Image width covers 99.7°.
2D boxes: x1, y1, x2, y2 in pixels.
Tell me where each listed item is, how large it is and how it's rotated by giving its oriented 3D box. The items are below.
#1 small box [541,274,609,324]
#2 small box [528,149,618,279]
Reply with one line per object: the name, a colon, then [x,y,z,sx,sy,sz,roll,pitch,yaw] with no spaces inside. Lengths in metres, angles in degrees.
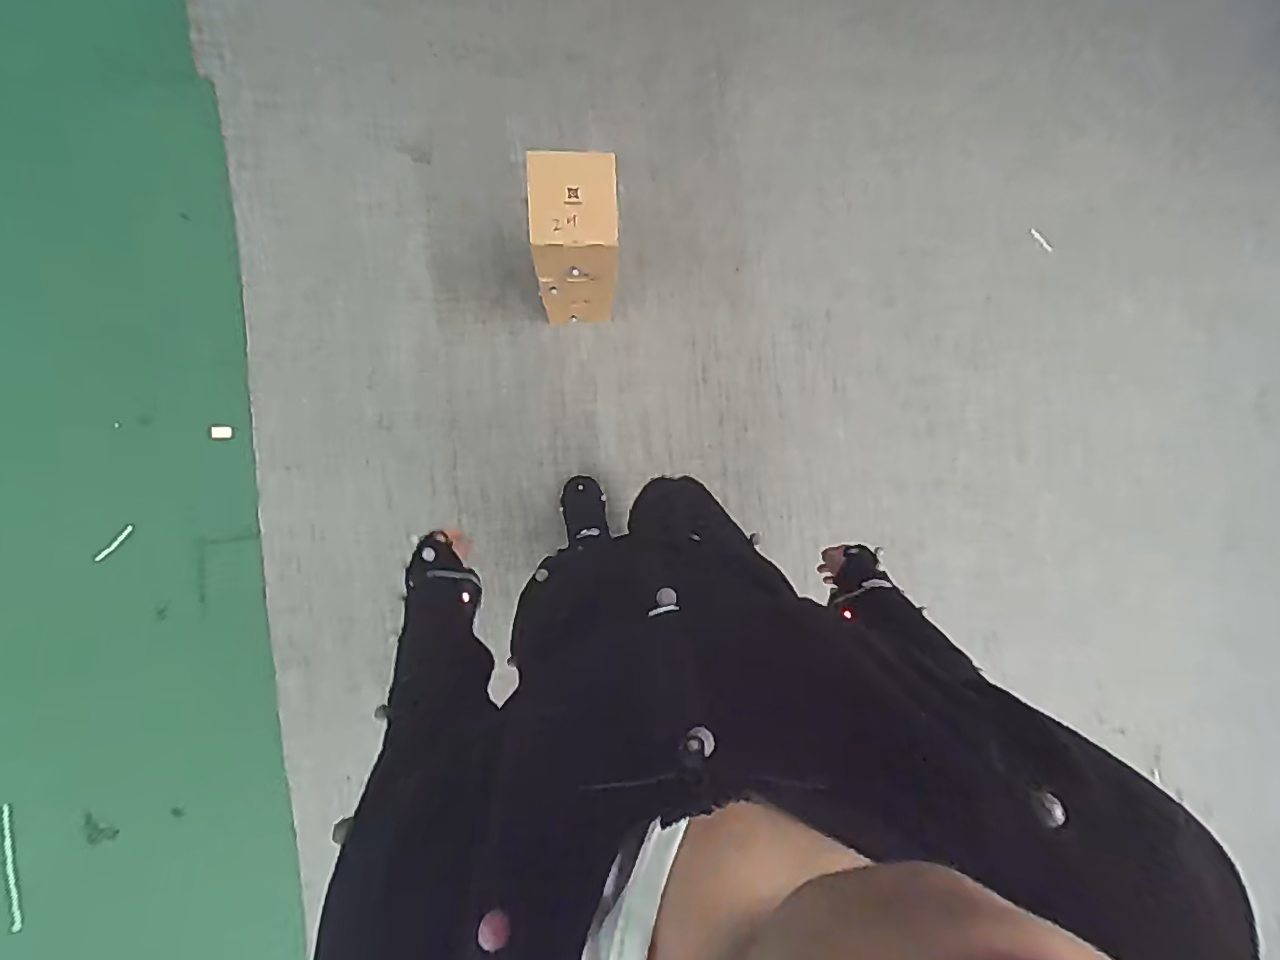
small box: [-0.174,-0.520,1.407,0.168,0.176,0.179,-6,91,-7]
small box: [-0.135,-0.522,1.081,0.168,0.176,0.179,-2,90,-7]
